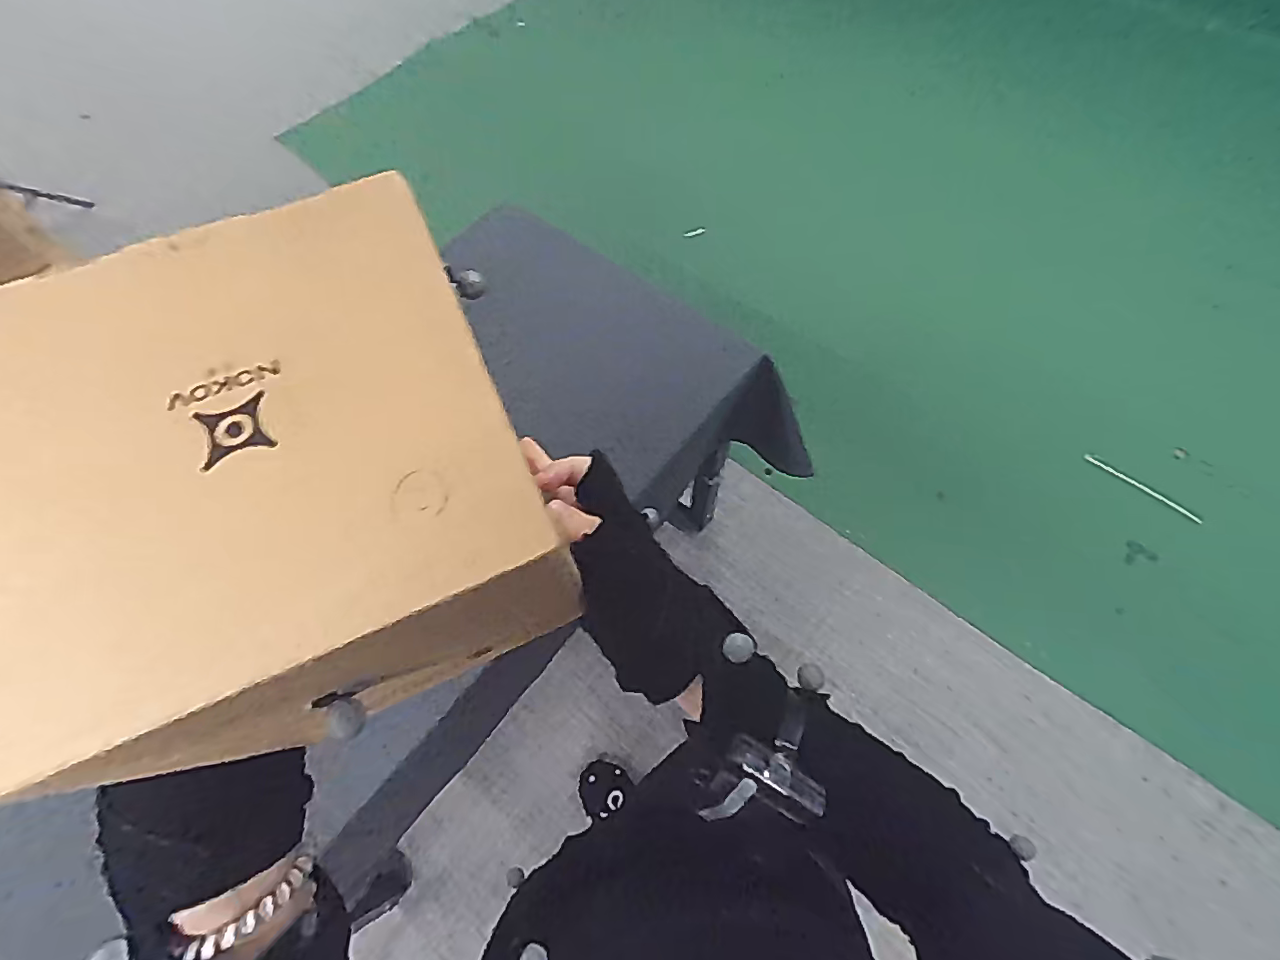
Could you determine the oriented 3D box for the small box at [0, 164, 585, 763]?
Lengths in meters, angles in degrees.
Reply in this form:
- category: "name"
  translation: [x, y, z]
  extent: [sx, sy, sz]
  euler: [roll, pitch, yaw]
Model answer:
- category: "small box"
  translation: [-0.134, 0.001, 0.259]
  extent: [0.168, 0.176, 0.179]
  euler: [-23, 71, -11]
